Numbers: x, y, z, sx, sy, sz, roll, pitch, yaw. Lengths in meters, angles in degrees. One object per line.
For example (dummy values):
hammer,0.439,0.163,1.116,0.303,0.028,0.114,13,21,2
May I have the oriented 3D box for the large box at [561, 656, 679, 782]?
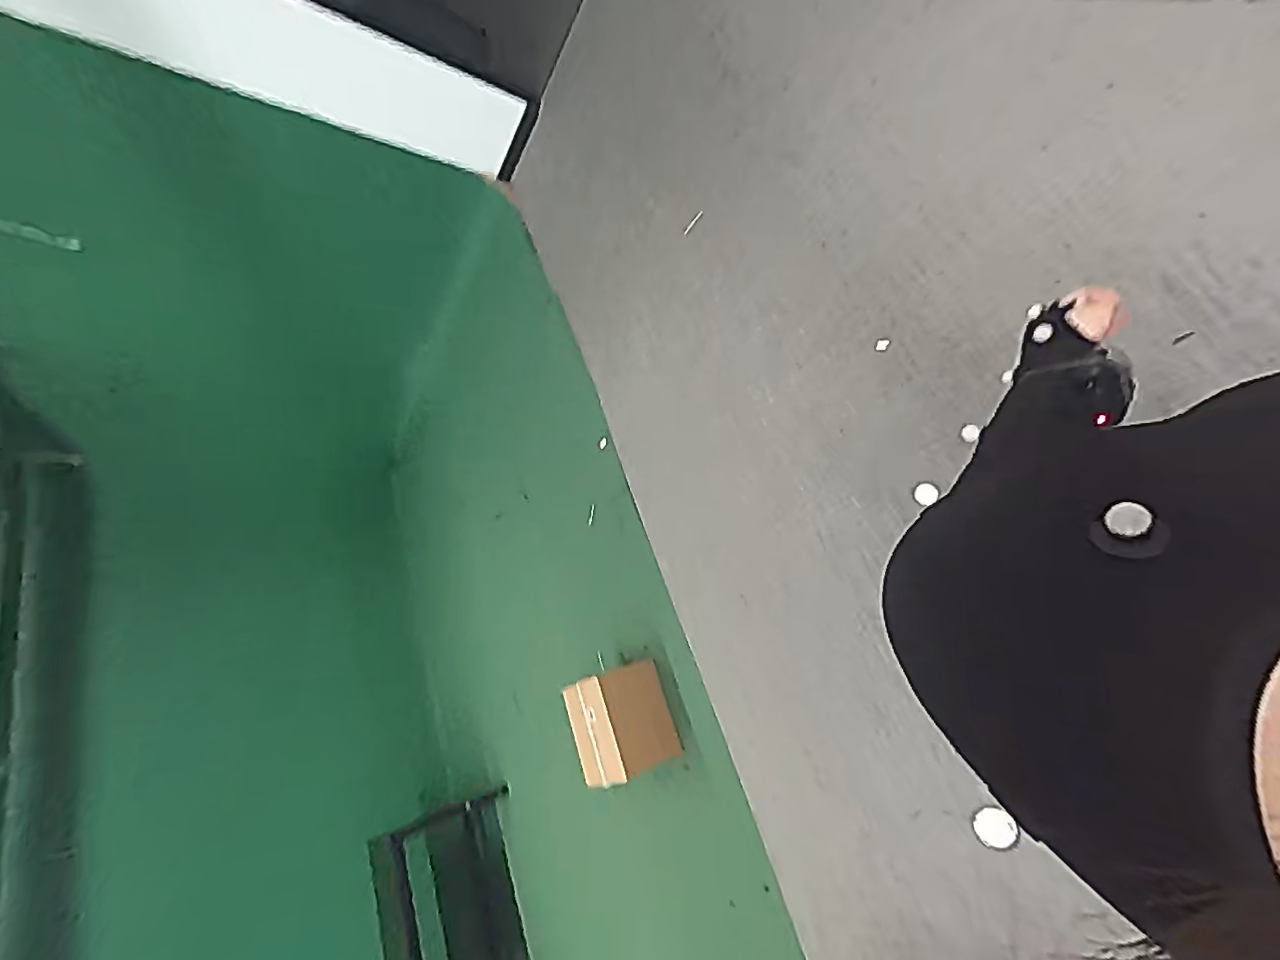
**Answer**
large box,-0.091,1.017,2.318,0.320,0.320,0.408,-38,63,43
